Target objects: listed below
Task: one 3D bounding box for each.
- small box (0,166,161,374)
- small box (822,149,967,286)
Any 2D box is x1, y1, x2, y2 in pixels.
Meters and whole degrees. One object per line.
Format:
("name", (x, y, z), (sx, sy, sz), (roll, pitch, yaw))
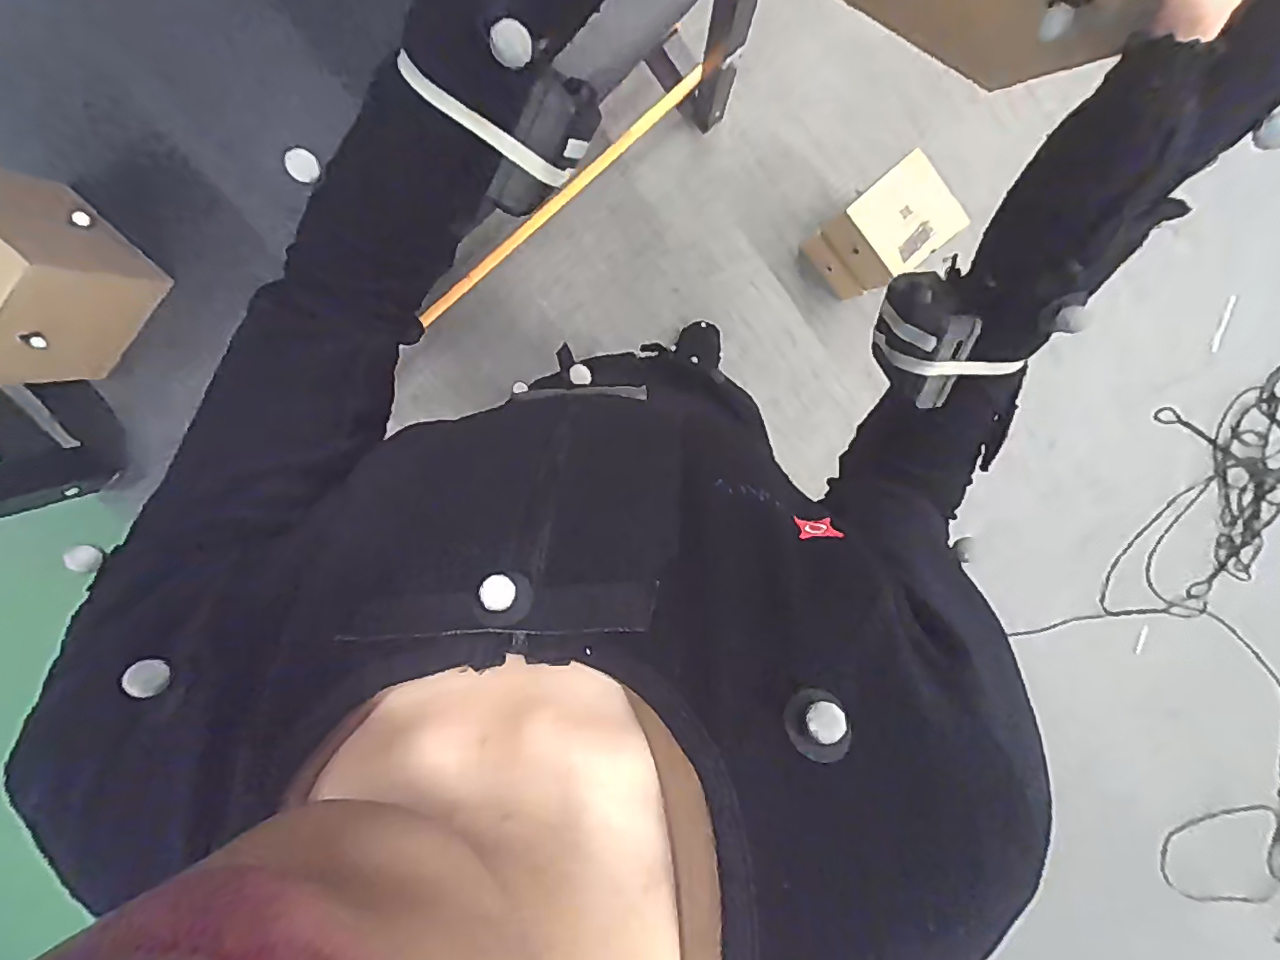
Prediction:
("small box", (-0.717, -0.233, 0.615), (0.179, 0.176, 0.168), (-43, 100, 11))
("small box", (0.502, -0.512, 1.090), (0.168, 0.176, 0.179), (-40, 99, 11))
